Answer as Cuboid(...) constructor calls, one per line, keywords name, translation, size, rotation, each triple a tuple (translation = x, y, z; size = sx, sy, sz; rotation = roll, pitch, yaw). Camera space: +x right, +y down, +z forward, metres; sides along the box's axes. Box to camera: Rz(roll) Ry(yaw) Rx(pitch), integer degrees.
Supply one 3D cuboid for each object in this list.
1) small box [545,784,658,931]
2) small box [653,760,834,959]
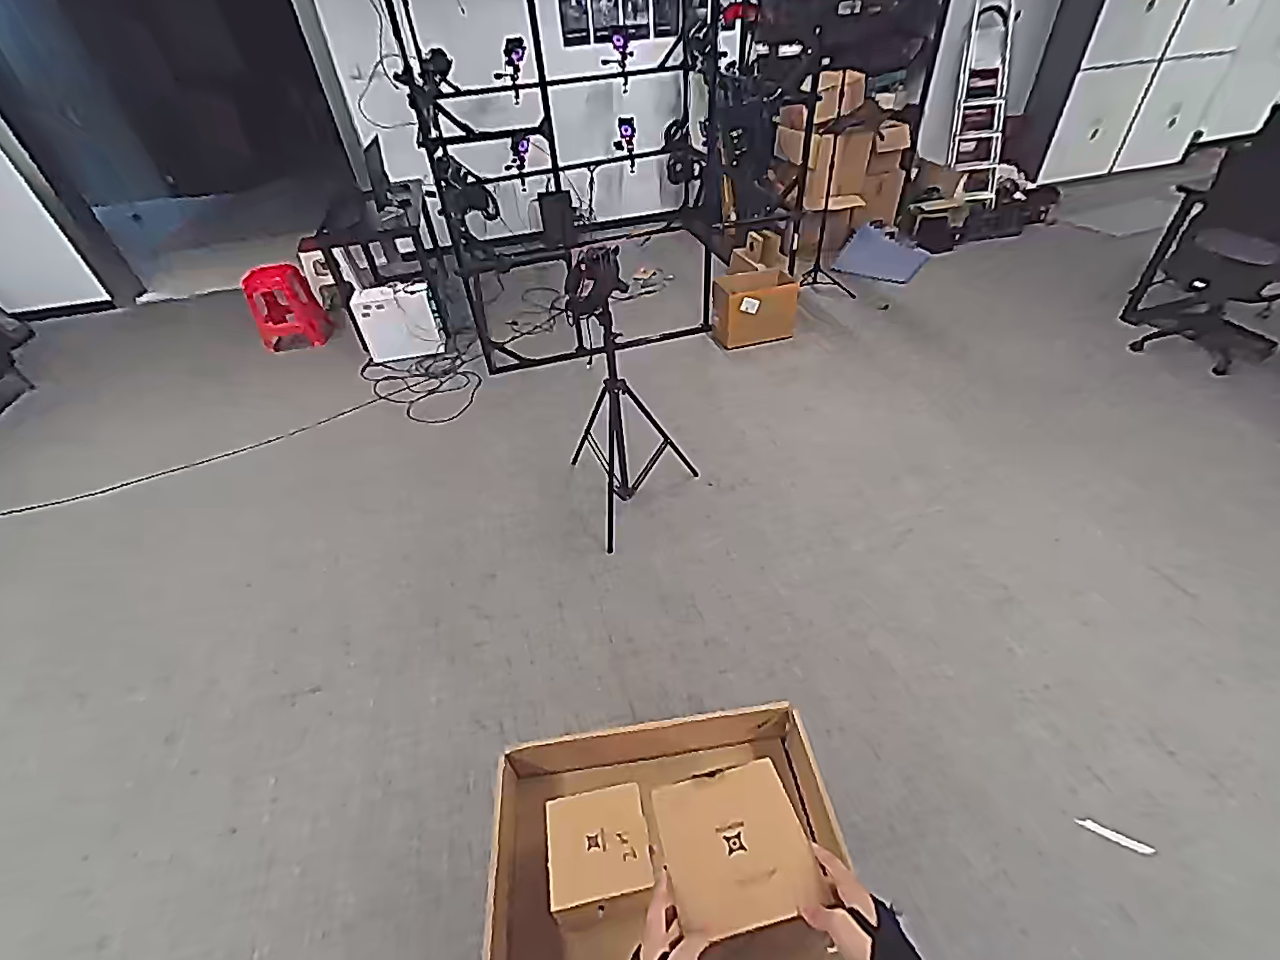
Cuboid(name="small box", translation=(-0.069, 0.689, 0.986), size=(0.179, 0.176, 0.168), rotation=(-9, 41, -6))
Cuboid(name="small box", translation=(0.115, 0.490, 0.665), size=(0.168, 0.176, 0.179), rotation=(-10, 28, -8))
